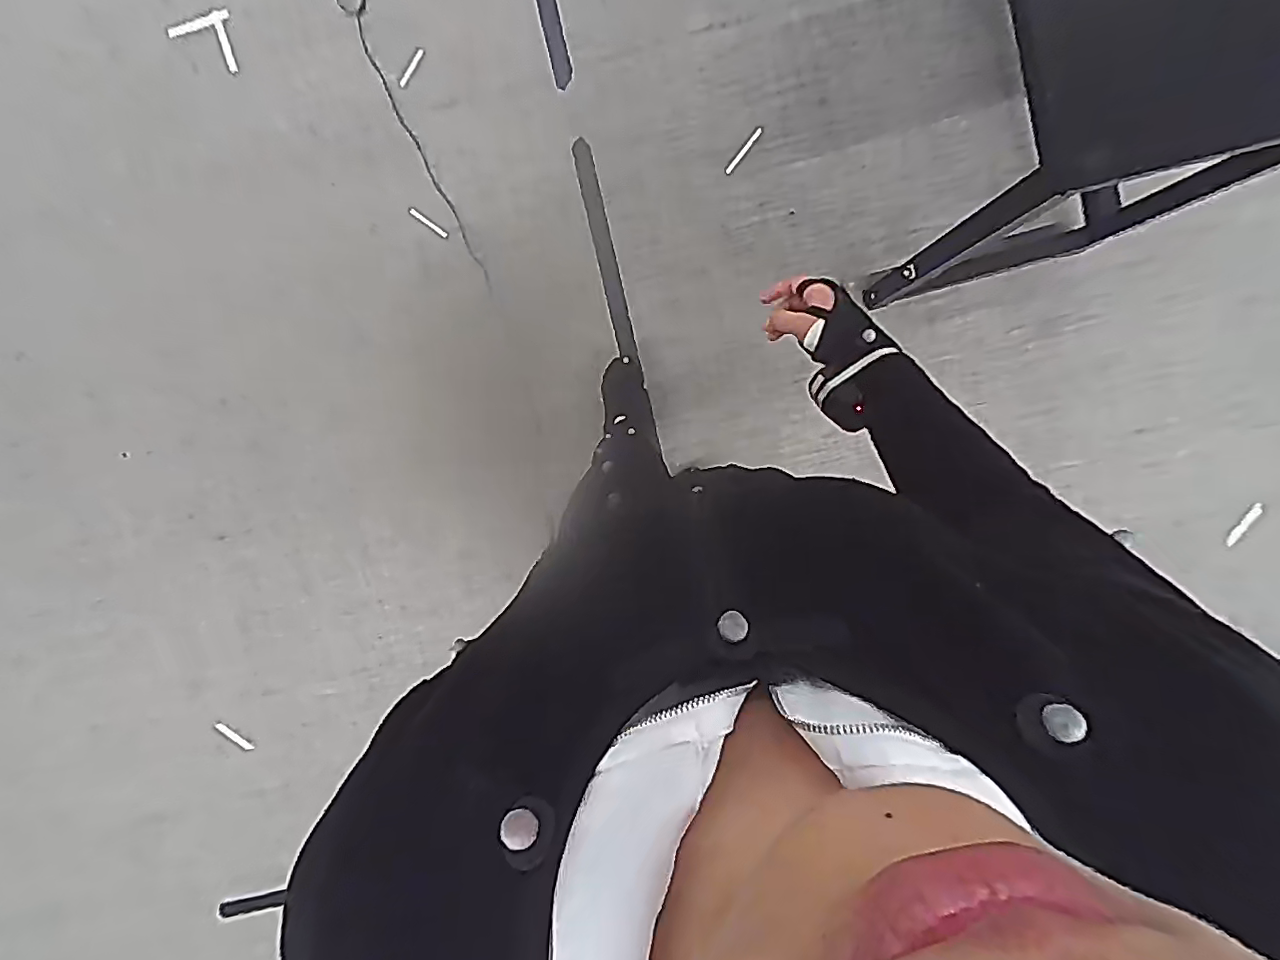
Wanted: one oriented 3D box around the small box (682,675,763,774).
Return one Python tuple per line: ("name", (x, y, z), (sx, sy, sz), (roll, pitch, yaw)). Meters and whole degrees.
("small box", (0.214, 0.648, 1.449), (0.179, 0.176, 0.168), (-15, 94, 3))
